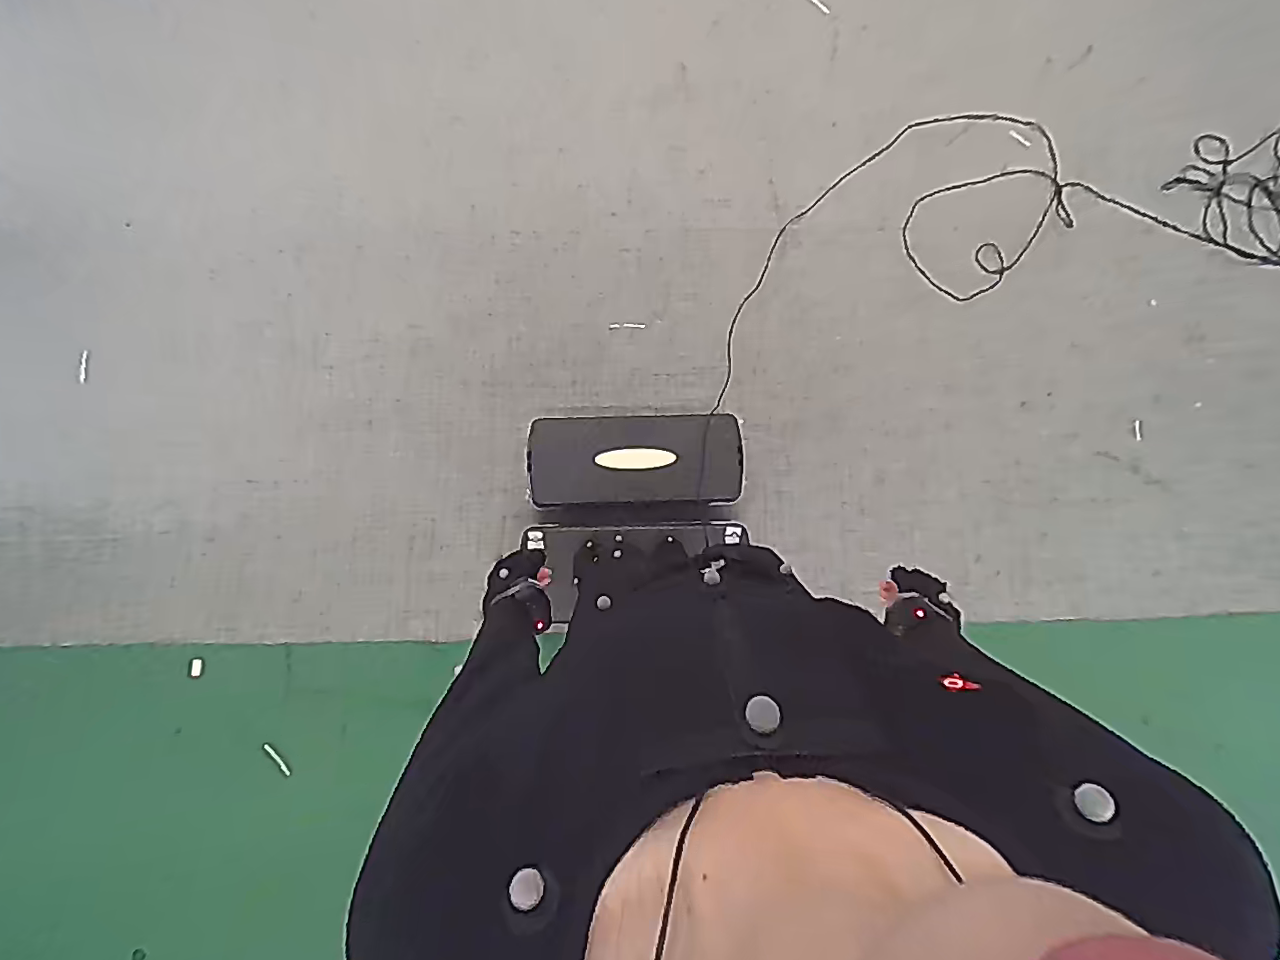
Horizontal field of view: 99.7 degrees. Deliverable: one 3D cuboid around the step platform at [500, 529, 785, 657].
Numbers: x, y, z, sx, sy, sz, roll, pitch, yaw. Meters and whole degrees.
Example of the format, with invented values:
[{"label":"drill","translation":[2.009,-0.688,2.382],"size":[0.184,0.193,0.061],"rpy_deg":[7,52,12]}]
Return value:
[{"label":"step platform","translation":[0.006,0.280,1.384],"size":[0.684,0.204,0.286],"rpy_deg":[-1,83,-2]}]
